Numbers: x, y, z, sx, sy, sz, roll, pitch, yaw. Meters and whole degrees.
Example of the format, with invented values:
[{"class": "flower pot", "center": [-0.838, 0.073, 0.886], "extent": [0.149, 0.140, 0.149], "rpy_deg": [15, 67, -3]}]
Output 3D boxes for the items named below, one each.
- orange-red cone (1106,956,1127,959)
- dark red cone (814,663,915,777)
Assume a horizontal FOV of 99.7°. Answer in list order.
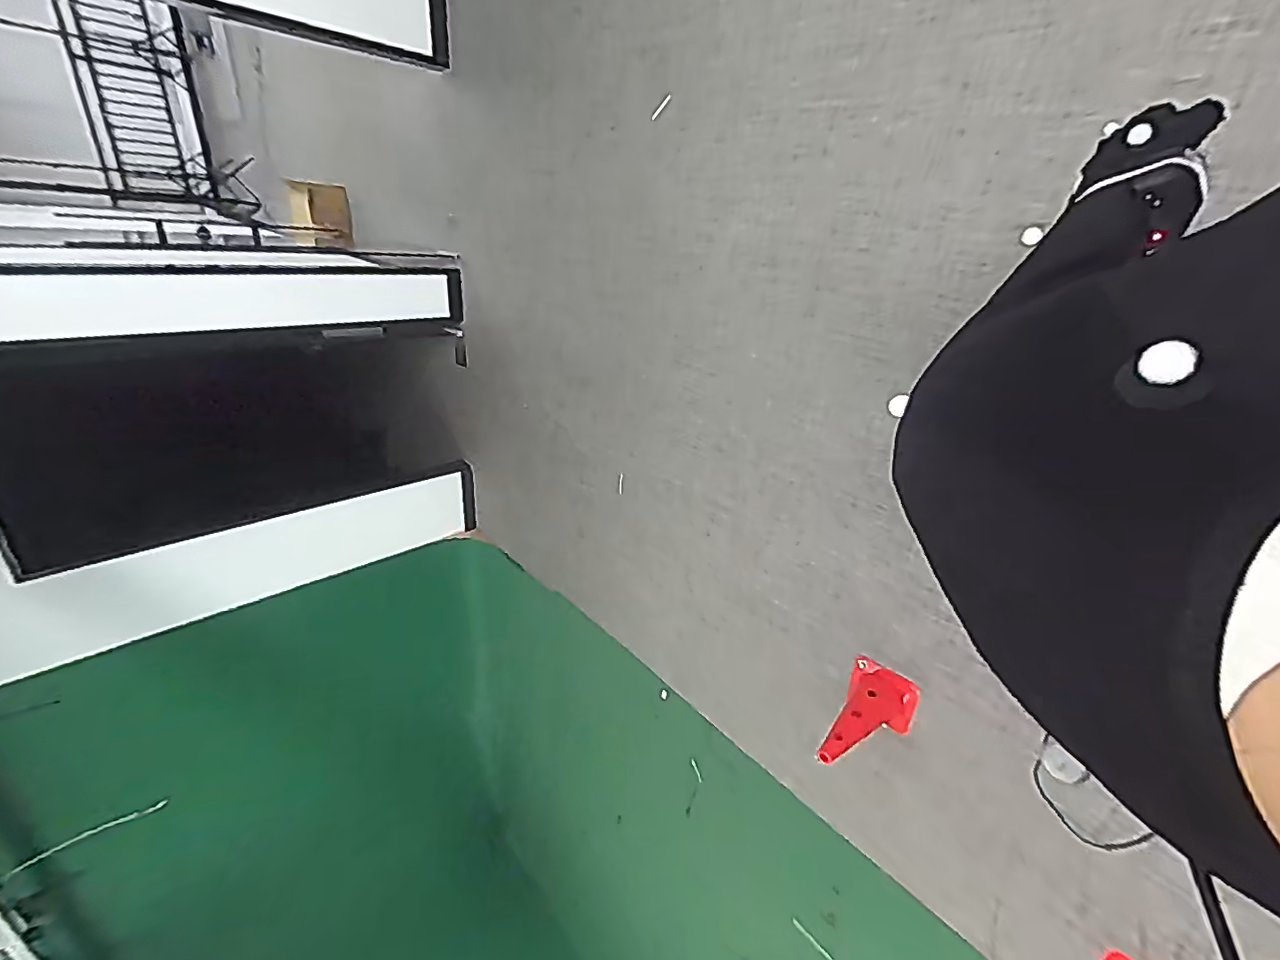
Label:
[{"class": "orange-red cone", "center": [1.157, 1.372, 1.258], "extent": [0.198, 0.360, 0.199], "rpy_deg": [29, 123, 38]}, {"class": "dark red cone", "center": [0.626, 0.731, 1.584], "extent": [0.202, 0.394, 0.201], "rpy_deg": [23, 122, 42]}]
